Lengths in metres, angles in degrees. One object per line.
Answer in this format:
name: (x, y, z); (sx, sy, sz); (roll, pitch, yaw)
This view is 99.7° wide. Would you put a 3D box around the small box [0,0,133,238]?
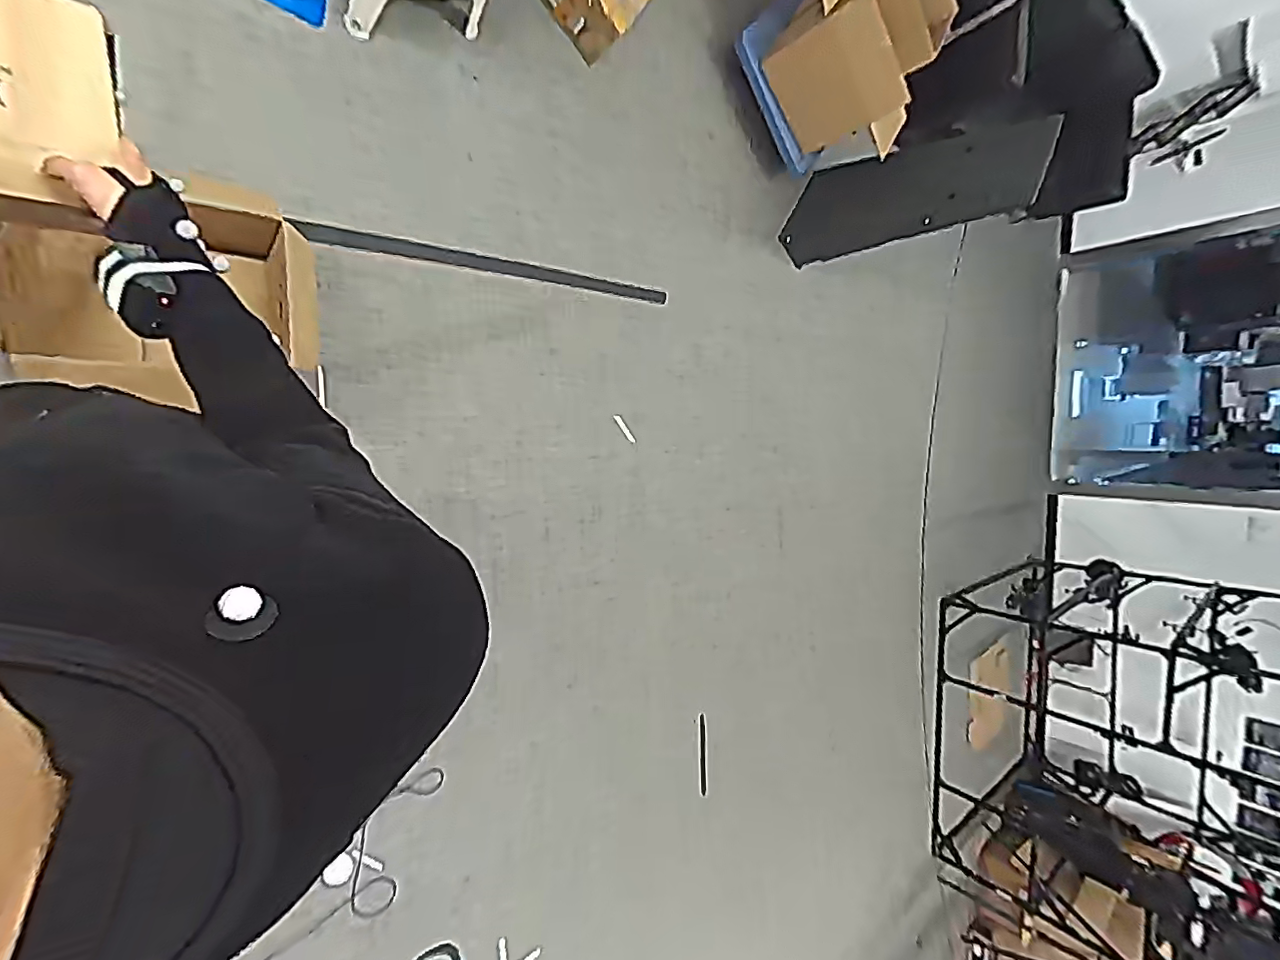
small box: (-0.609, -0.347, 0.511); (0.168, 0.176, 0.179); (-10, 106, -45)
